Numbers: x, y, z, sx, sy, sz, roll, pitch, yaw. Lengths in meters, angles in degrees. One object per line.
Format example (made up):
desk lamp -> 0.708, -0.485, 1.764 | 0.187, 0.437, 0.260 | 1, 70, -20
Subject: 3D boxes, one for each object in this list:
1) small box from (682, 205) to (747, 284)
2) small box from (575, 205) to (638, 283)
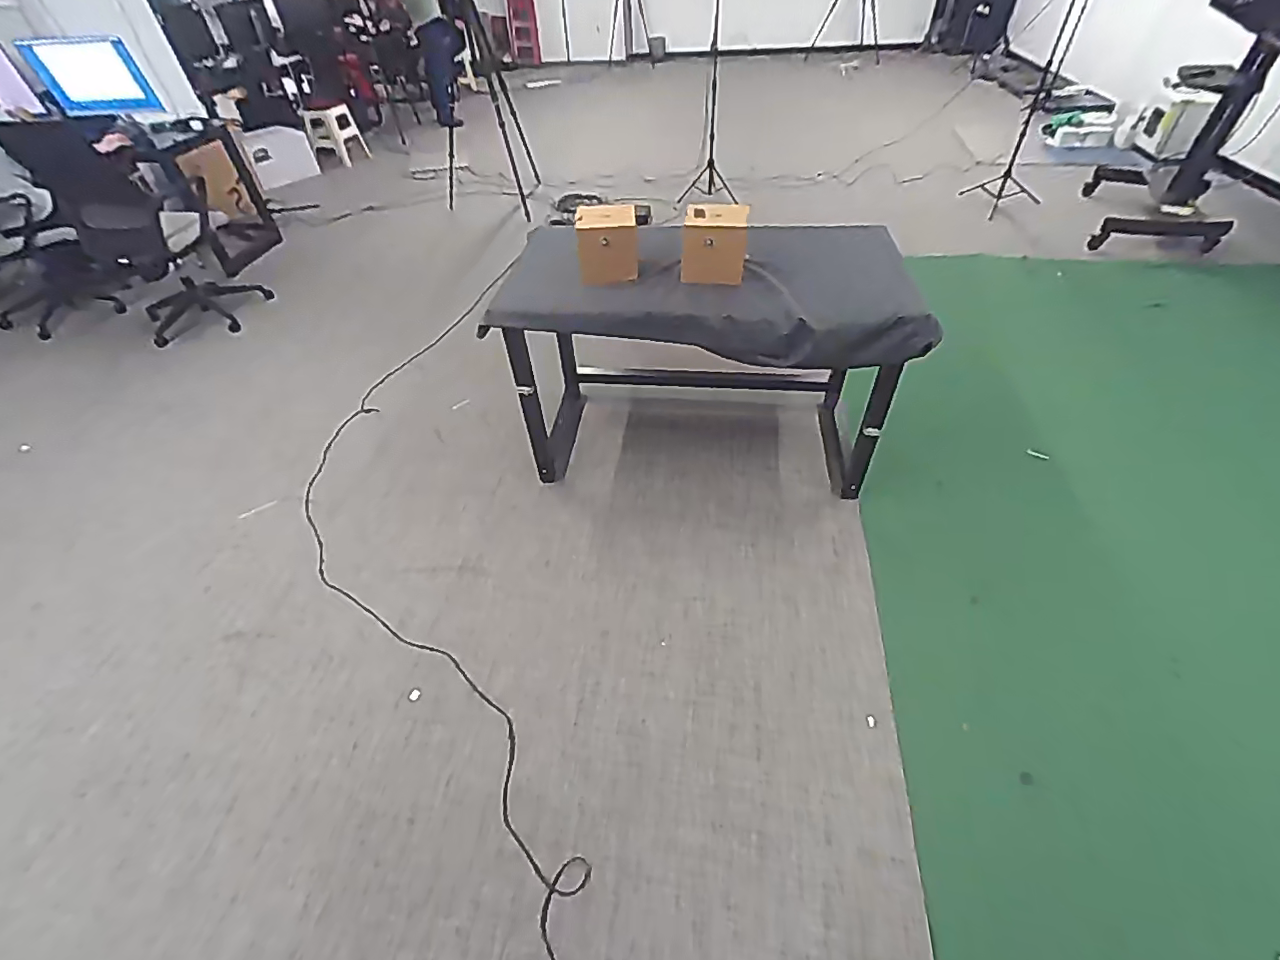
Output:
small box -> 0.217, -0.691, 1.590 | 0.179, 0.176, 0.168 | 5, 46, 8
small box -> -0.097, -0.709, 1.630 | 0.179, 0.176, 0.168 | -3, 47, -1
